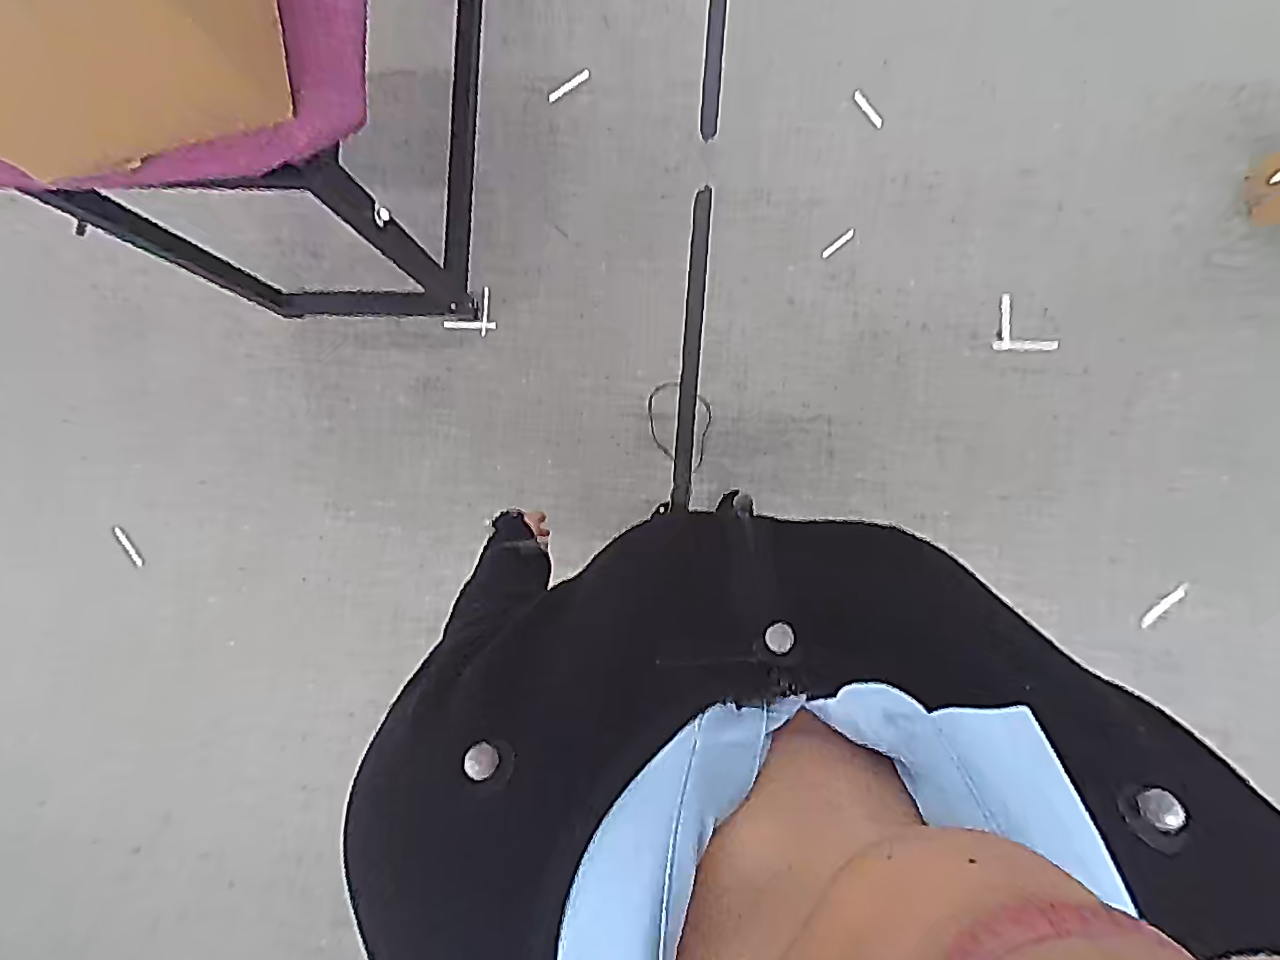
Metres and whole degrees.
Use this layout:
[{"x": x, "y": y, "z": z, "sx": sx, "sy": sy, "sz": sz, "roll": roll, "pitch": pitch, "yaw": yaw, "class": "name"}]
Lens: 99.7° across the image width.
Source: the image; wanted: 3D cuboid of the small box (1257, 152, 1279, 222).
[{"x": 1.746, "y": -0.779, "z": 1.380, "sx": 0.179, "sy": 0.176, "sz": 0.168, "roll": -1, "pitch": 88, "yaw": 2, "class": "small box"}]
